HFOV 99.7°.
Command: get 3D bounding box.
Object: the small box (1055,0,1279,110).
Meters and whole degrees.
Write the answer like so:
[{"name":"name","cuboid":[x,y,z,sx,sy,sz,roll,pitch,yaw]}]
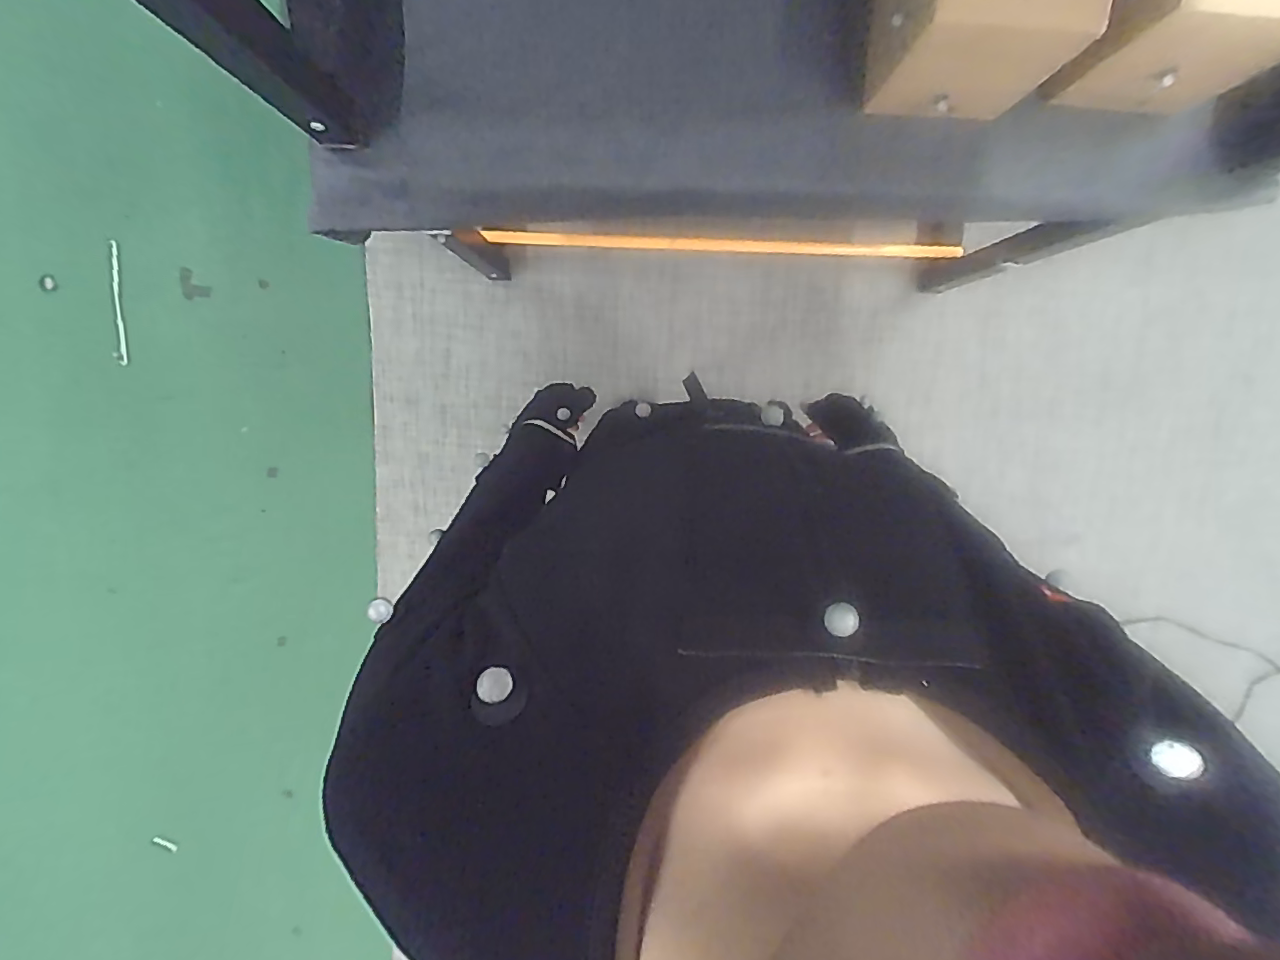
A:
[{"name":"small box","cuboid":[0.591,-0.531,0.574,0.168,0.176,0.179,5,99,-1]}]
